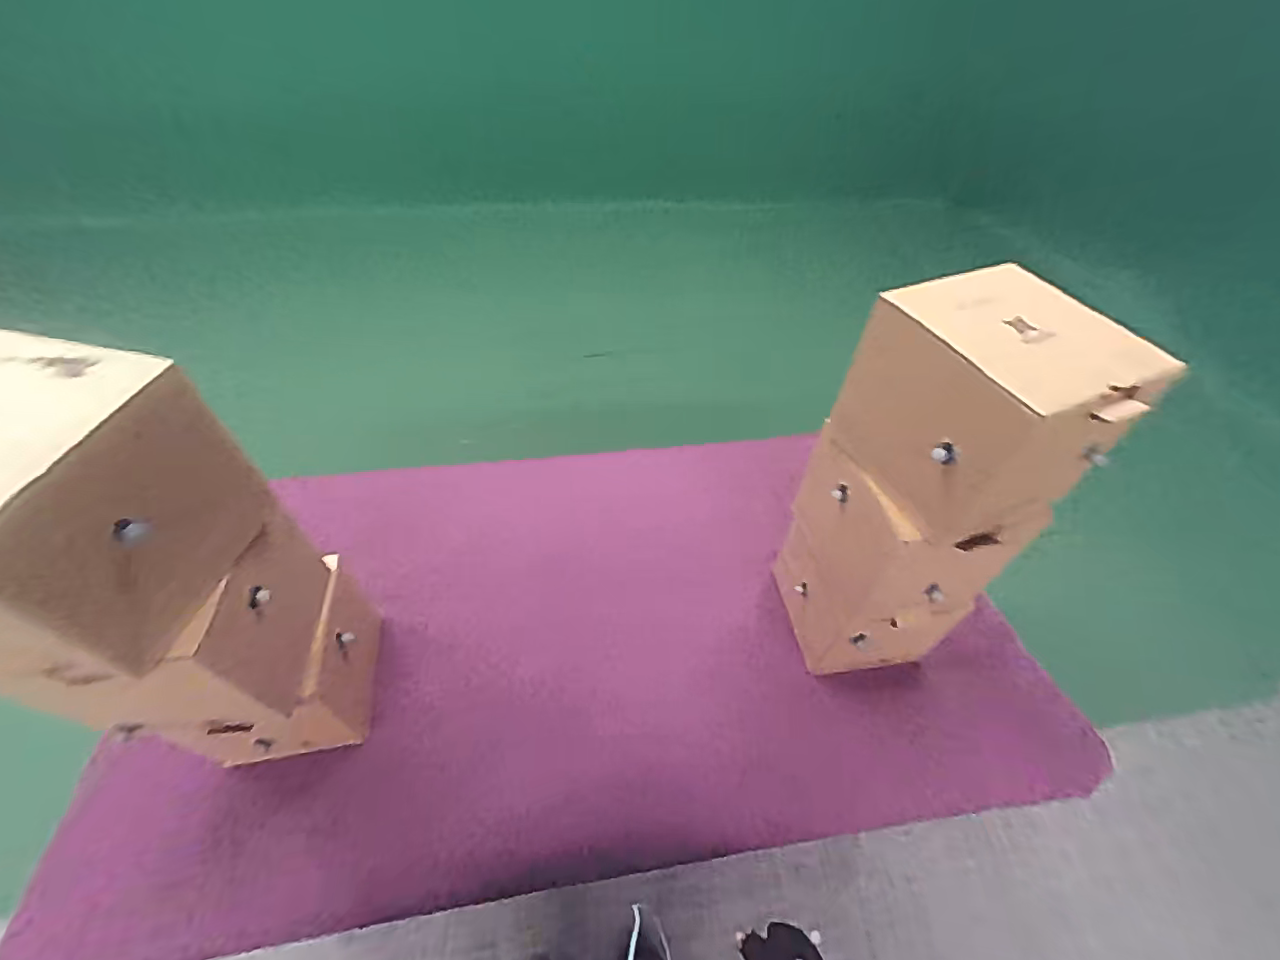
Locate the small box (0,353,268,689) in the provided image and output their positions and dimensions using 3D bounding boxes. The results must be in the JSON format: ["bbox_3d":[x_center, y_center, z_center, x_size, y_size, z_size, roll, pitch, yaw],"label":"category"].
[{"bbox_3d":[-0.428,0.034,0.399,0.168,0.176,0.179,11,52,4],"label":"small box"}]

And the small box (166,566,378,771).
[{"bbox_3d":[-0.437,0.231,0.662,0.168,0.176,0.179,-7,52,-9],"label":"small box"}]

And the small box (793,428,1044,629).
[{"bbox_3d":[0.300,0.048,0.634,0.168,0.176,0.179,-9,50,-9],"label":"small box"}]

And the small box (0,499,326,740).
[{"bbox_3d":[-0.436,0.140,0.524,0.168,0.176,0.179,-3,51,-7],"label":"small box"}]

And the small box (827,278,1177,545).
[{"bbox_3d":[0.312,-0.059,0.511,0.168,0.176,0.179,-17,52,-17],"label":"small box"}]
